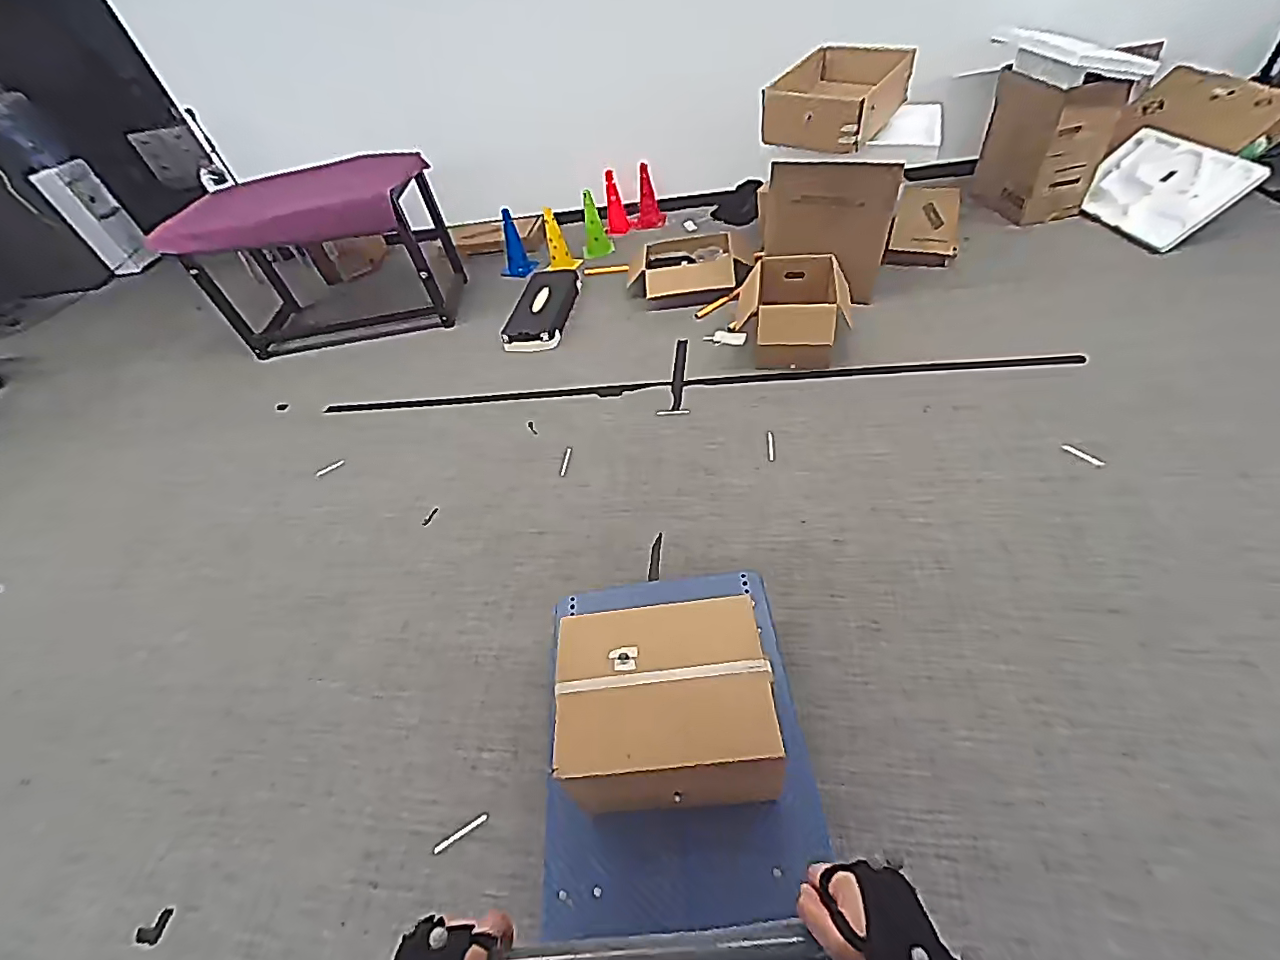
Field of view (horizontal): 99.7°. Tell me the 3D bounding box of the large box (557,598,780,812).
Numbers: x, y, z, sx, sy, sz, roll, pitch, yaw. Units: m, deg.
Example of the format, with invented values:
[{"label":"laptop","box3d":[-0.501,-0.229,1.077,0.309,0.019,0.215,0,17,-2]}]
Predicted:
[{"label":"large box","box3d":[0.063,0.488,1.155,0.408,0.320,0.320,-9,46,5]}]
